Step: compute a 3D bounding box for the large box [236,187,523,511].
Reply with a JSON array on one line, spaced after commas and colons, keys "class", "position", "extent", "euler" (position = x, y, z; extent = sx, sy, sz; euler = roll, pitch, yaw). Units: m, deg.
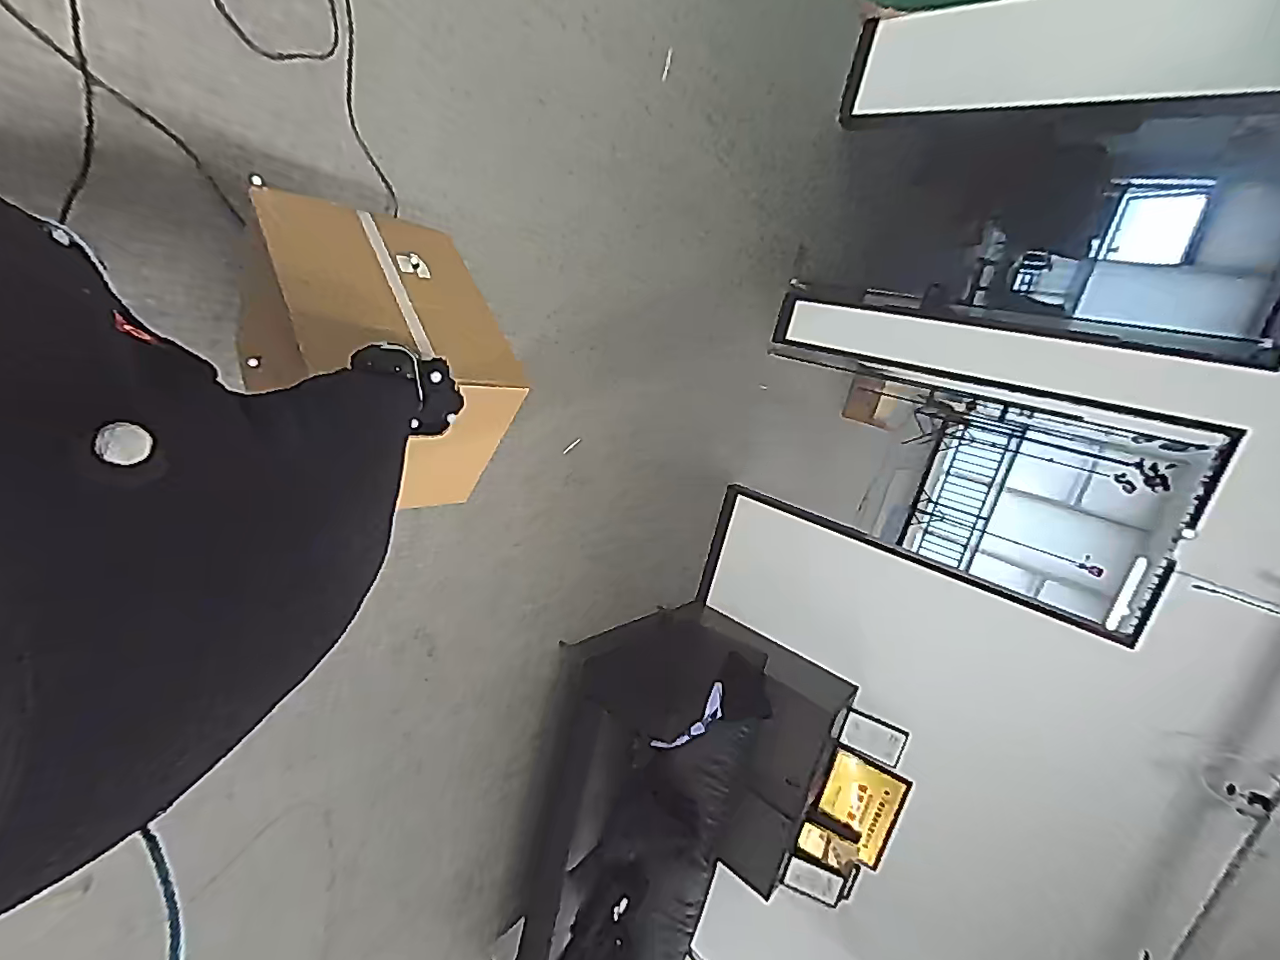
[{"class": "large box", "position": [-0.463, -0.207, 0.928], "extent": [0.320, 0.408, 0.320], "euler": [-6, 146, -45]}]
